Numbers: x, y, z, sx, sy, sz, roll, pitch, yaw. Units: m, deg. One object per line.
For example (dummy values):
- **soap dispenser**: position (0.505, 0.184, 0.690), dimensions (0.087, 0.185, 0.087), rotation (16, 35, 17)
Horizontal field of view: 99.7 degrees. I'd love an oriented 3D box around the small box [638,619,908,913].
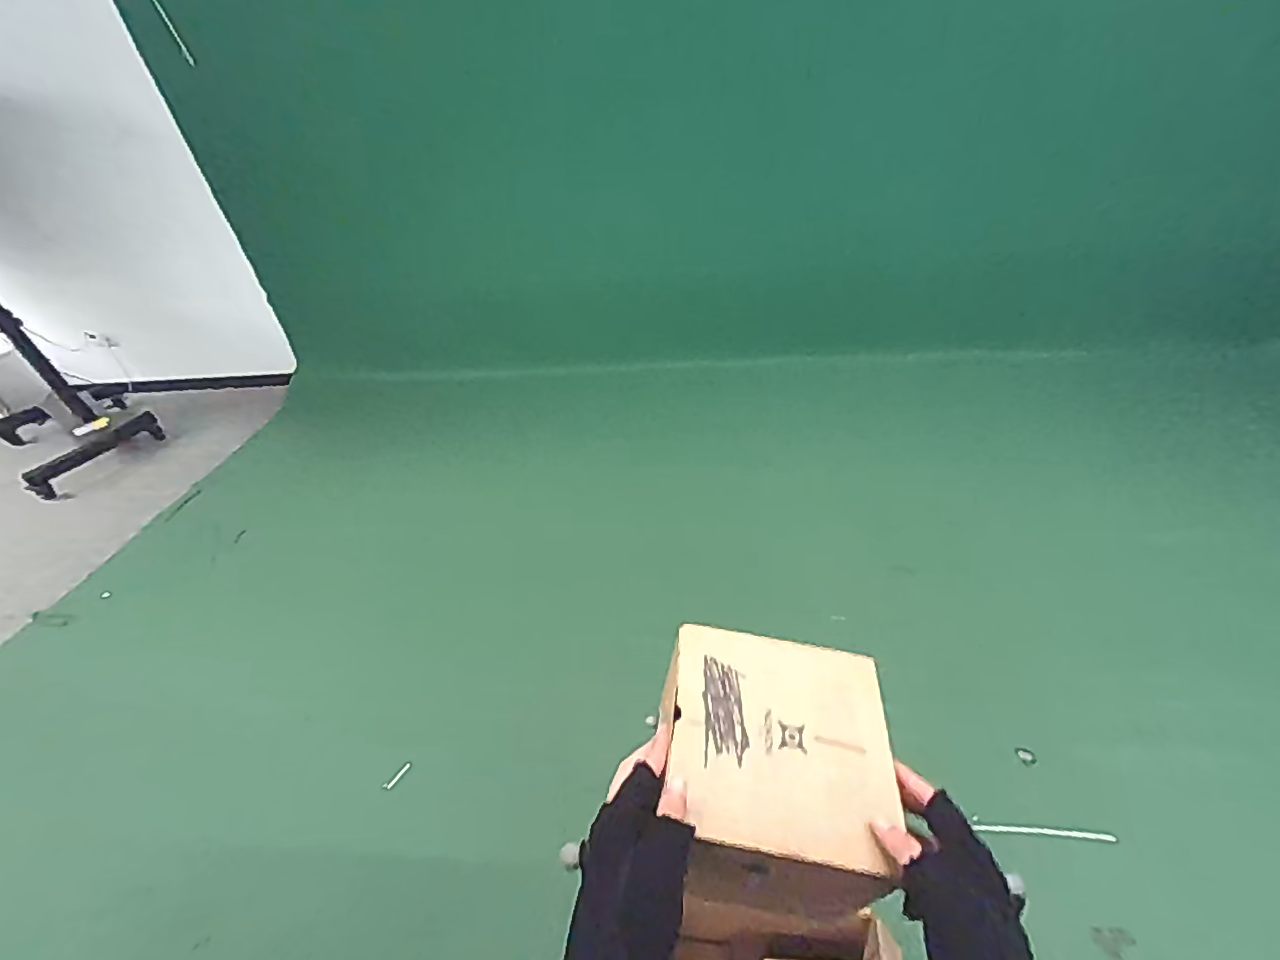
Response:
- **small box**: position (0.098, 0.249, 0.471), dimensions (0.179, 0.176, 0.168), rotation (10, 43, 3)
